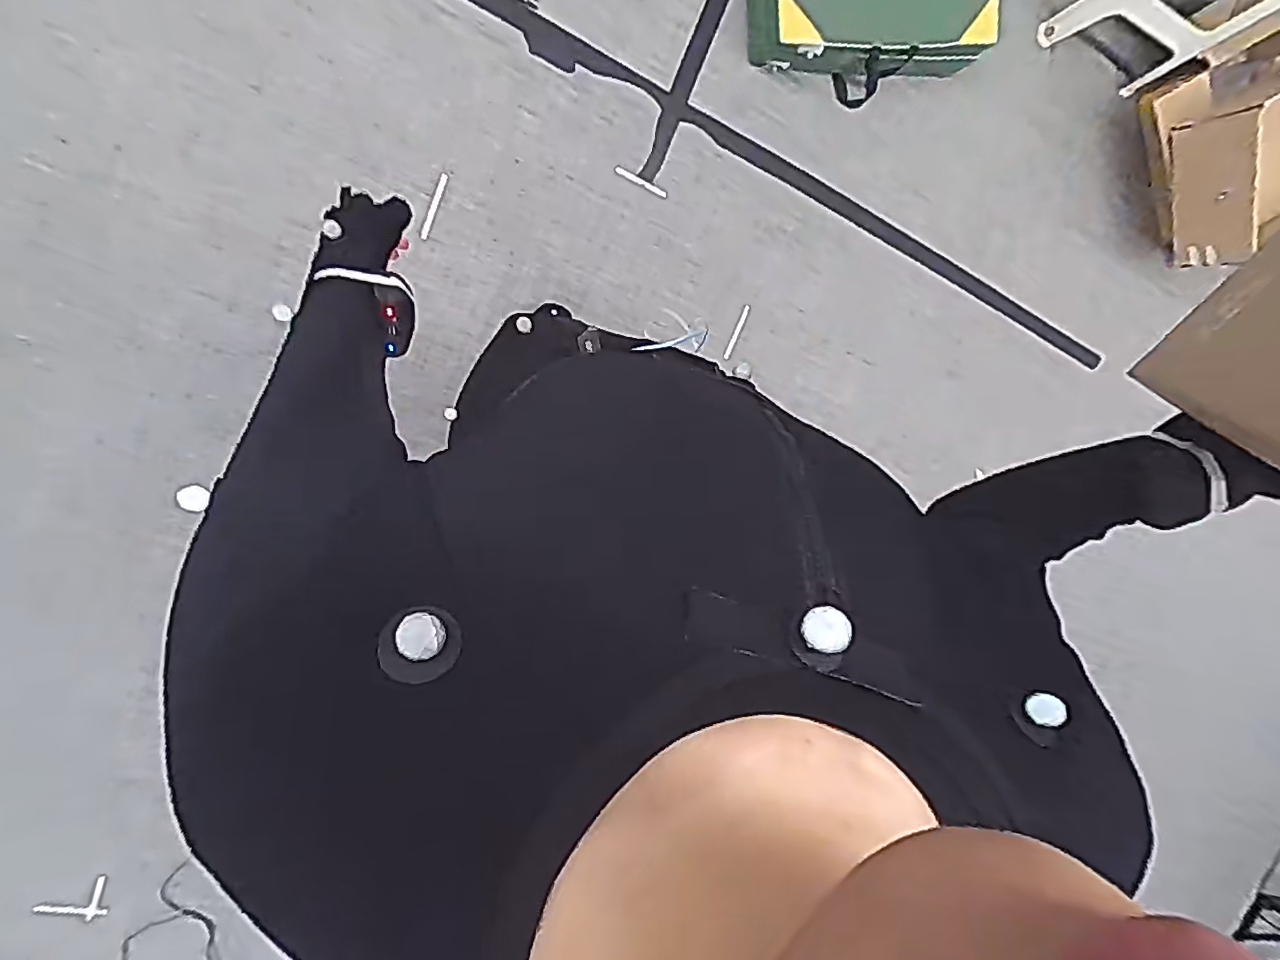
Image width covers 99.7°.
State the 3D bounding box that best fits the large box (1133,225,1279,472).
[{"bbox_3d":[0.478,-0.046,0.166,0.320,0.408,0.320,40,126,11],"label":"large box"}]
